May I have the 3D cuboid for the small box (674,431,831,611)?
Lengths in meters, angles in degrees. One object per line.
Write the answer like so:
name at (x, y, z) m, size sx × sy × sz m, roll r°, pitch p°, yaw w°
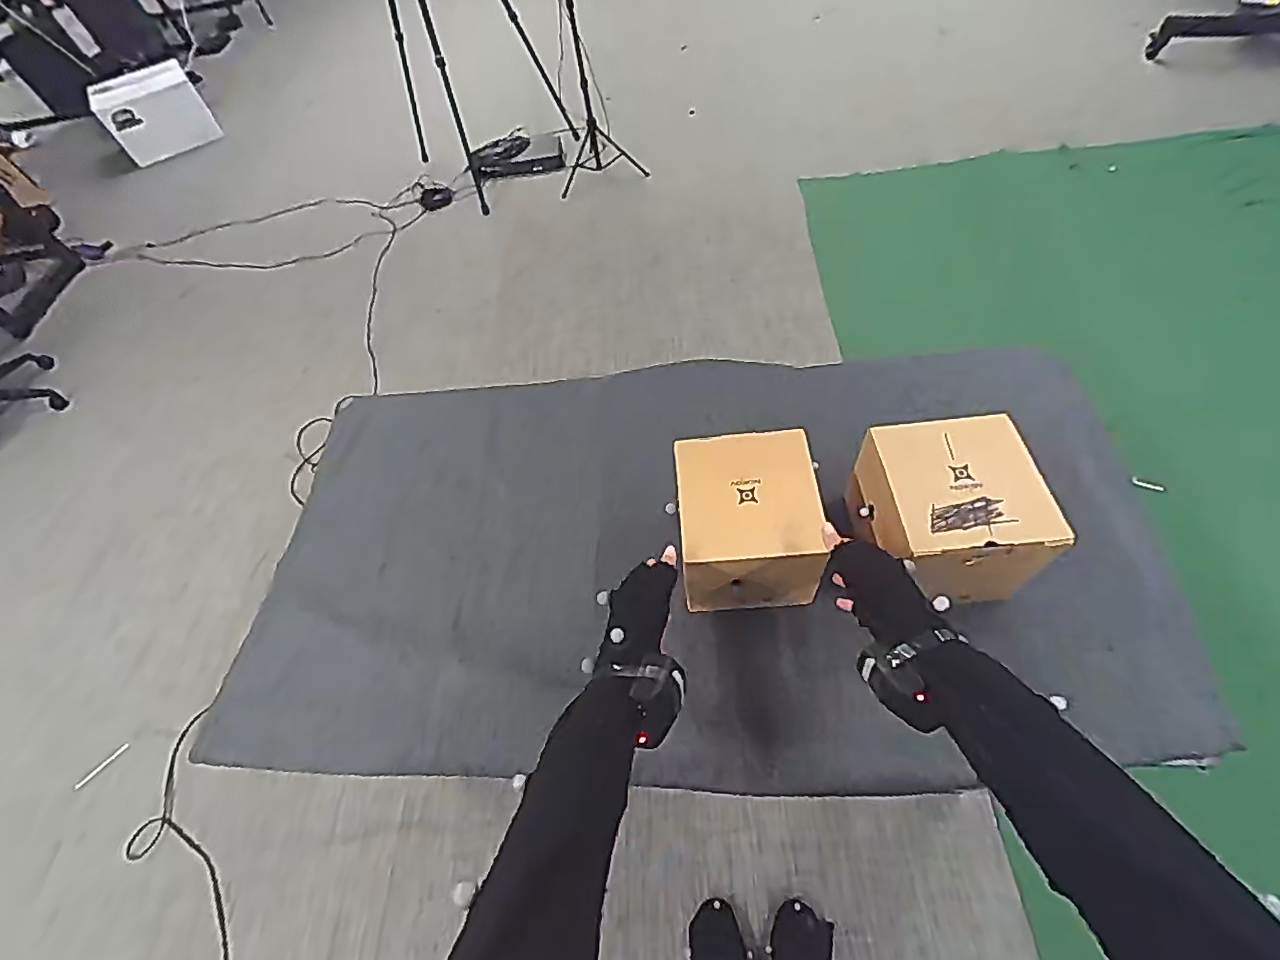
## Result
small box at (0.137, 0.061, 0.701) m, size 0.168 × 0.176 × 0.179 m, roll -5°, pitch 55°, yaw 5°
